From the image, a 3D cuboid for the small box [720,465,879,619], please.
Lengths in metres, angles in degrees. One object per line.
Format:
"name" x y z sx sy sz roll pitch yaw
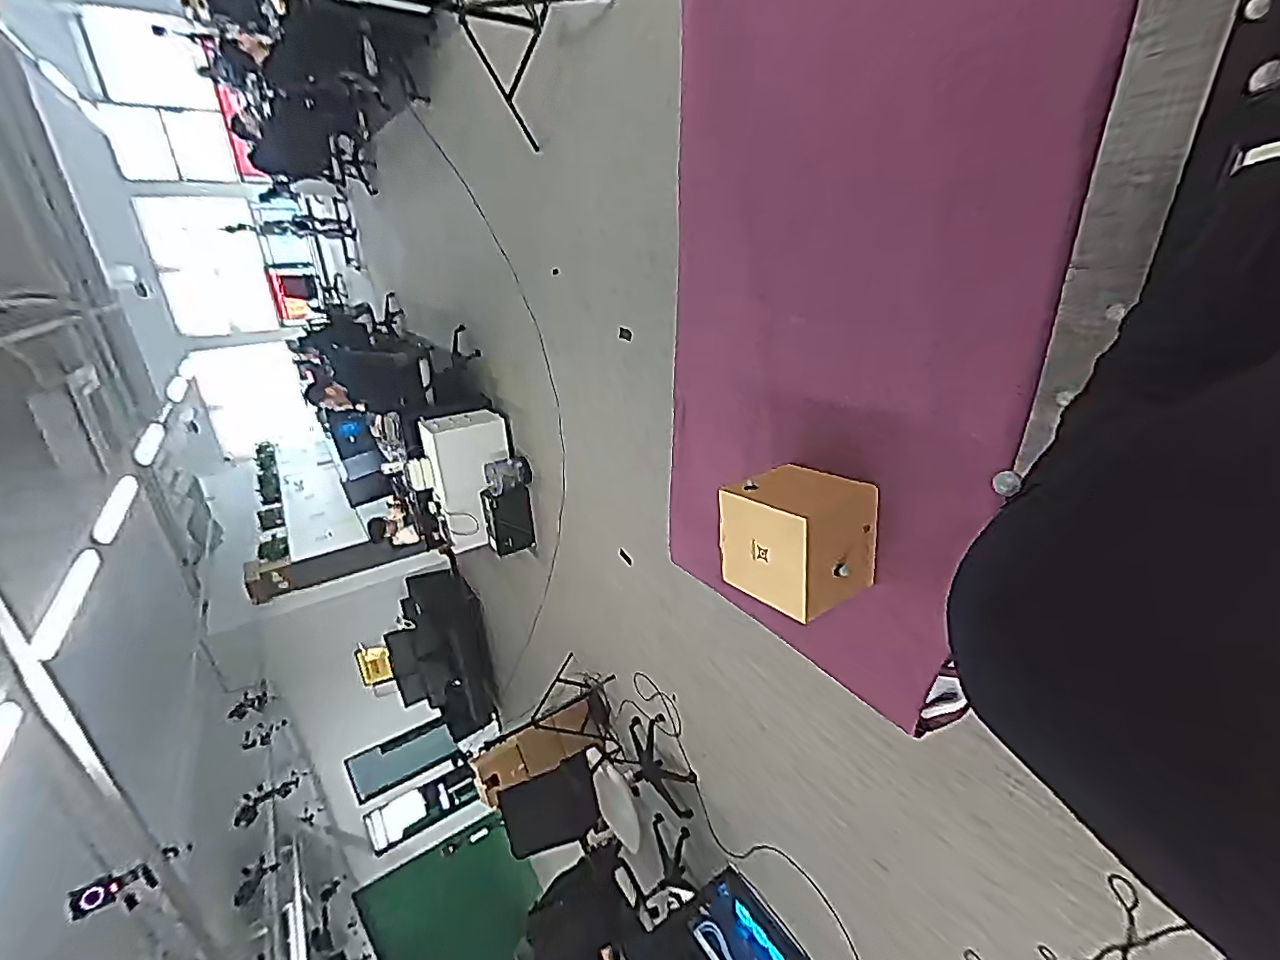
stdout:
"small box" 0.248 0.083 0.846 0.179 0.176 0.168 22 122 54
